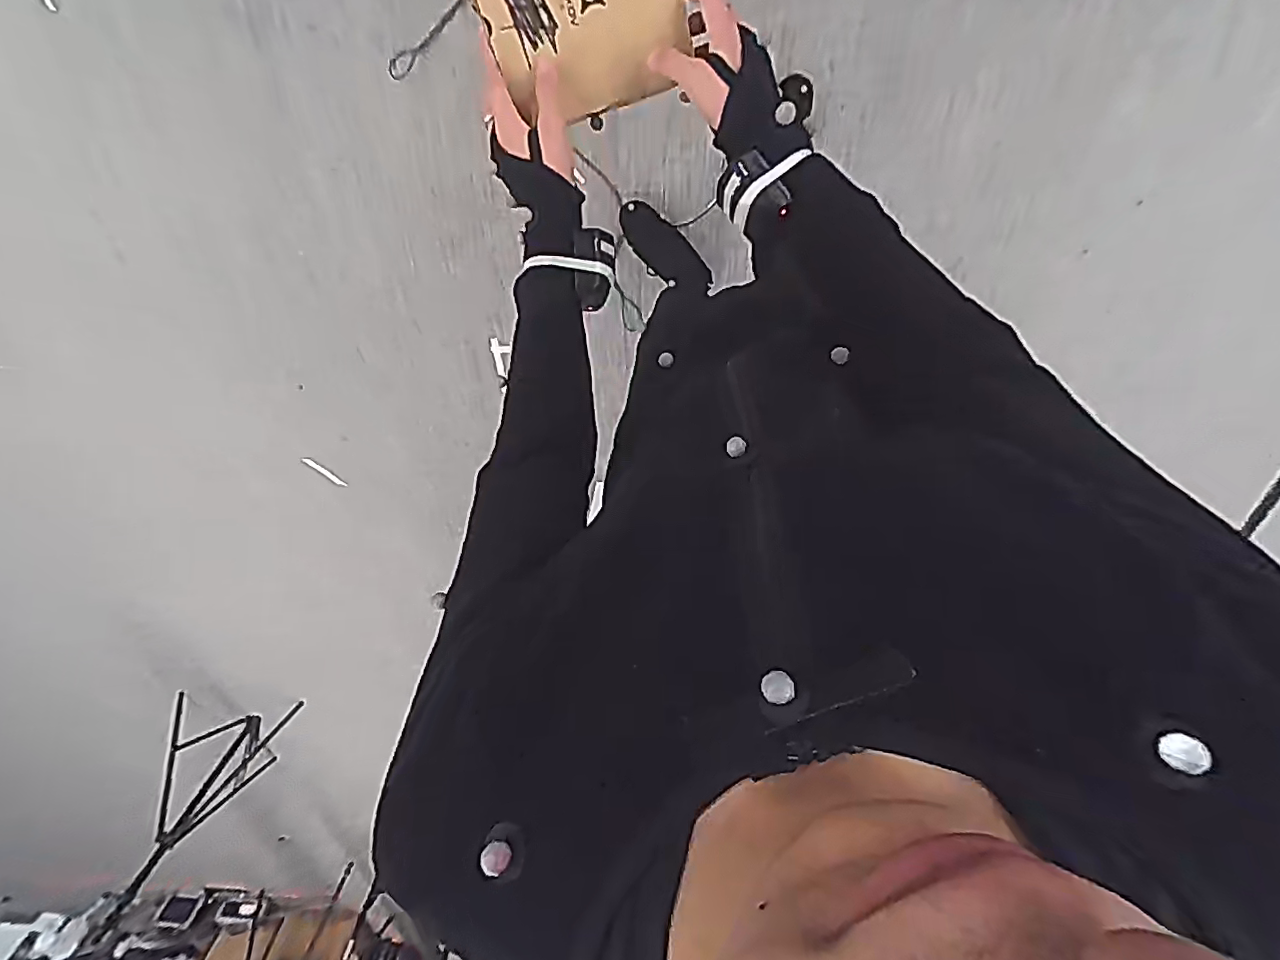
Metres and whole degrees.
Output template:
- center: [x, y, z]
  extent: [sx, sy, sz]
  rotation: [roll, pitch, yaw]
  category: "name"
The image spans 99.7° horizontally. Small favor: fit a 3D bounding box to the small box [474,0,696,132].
- center: [-0.061, -0.455, 0.522]
  extent: [0.179, 0.176, 0.168]
  rotation: [-18, 122, 2]
  category: "small box"
